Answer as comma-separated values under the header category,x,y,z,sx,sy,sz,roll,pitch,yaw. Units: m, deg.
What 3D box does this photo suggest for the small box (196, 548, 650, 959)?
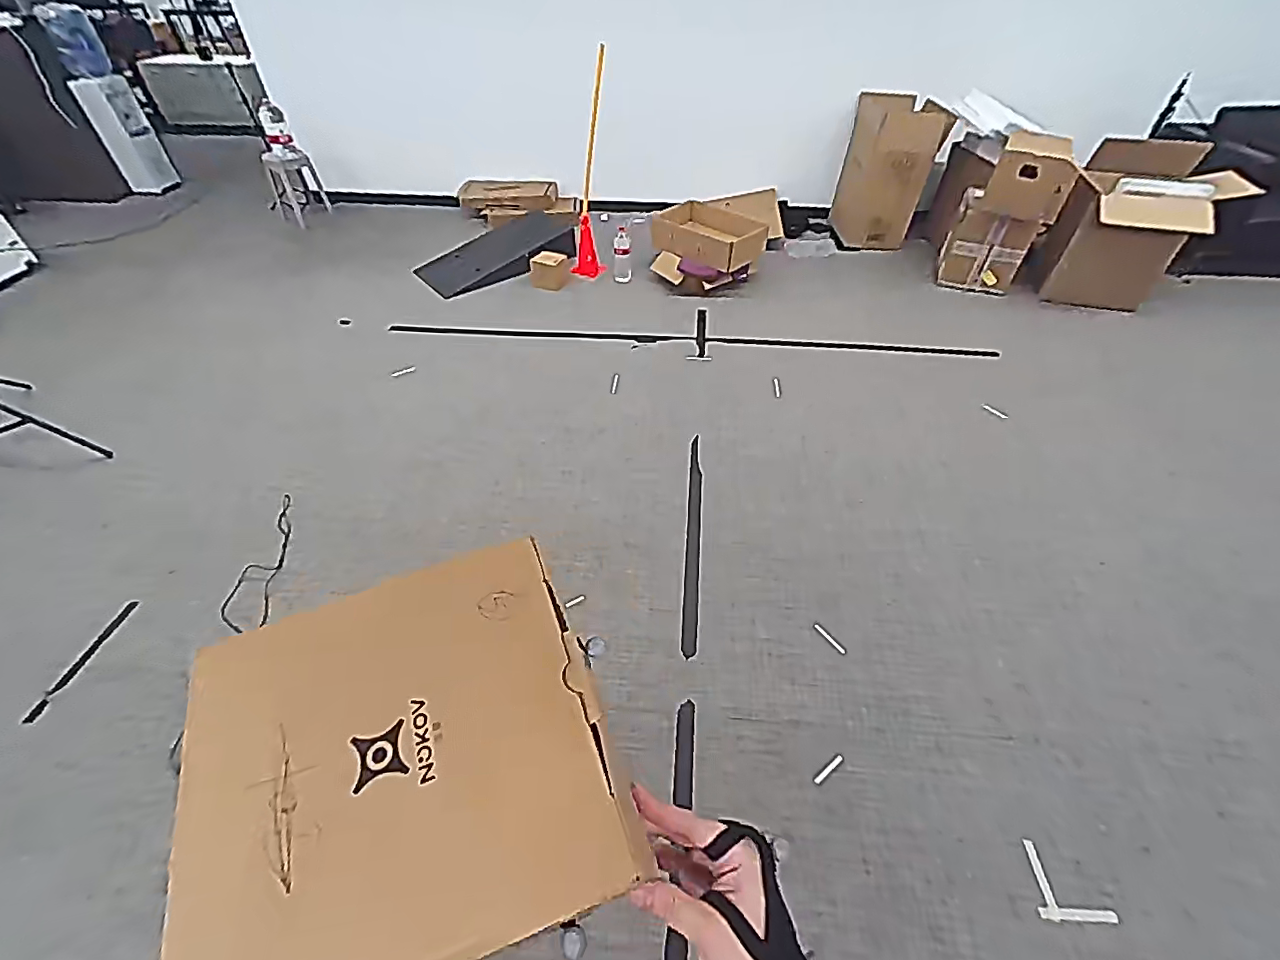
category,x,y,z,sx,sy,sz,roll,pitch,yaw
small box,-0.101,0.171,0.311,0.179,0.176,0.168,-21,55,-9
